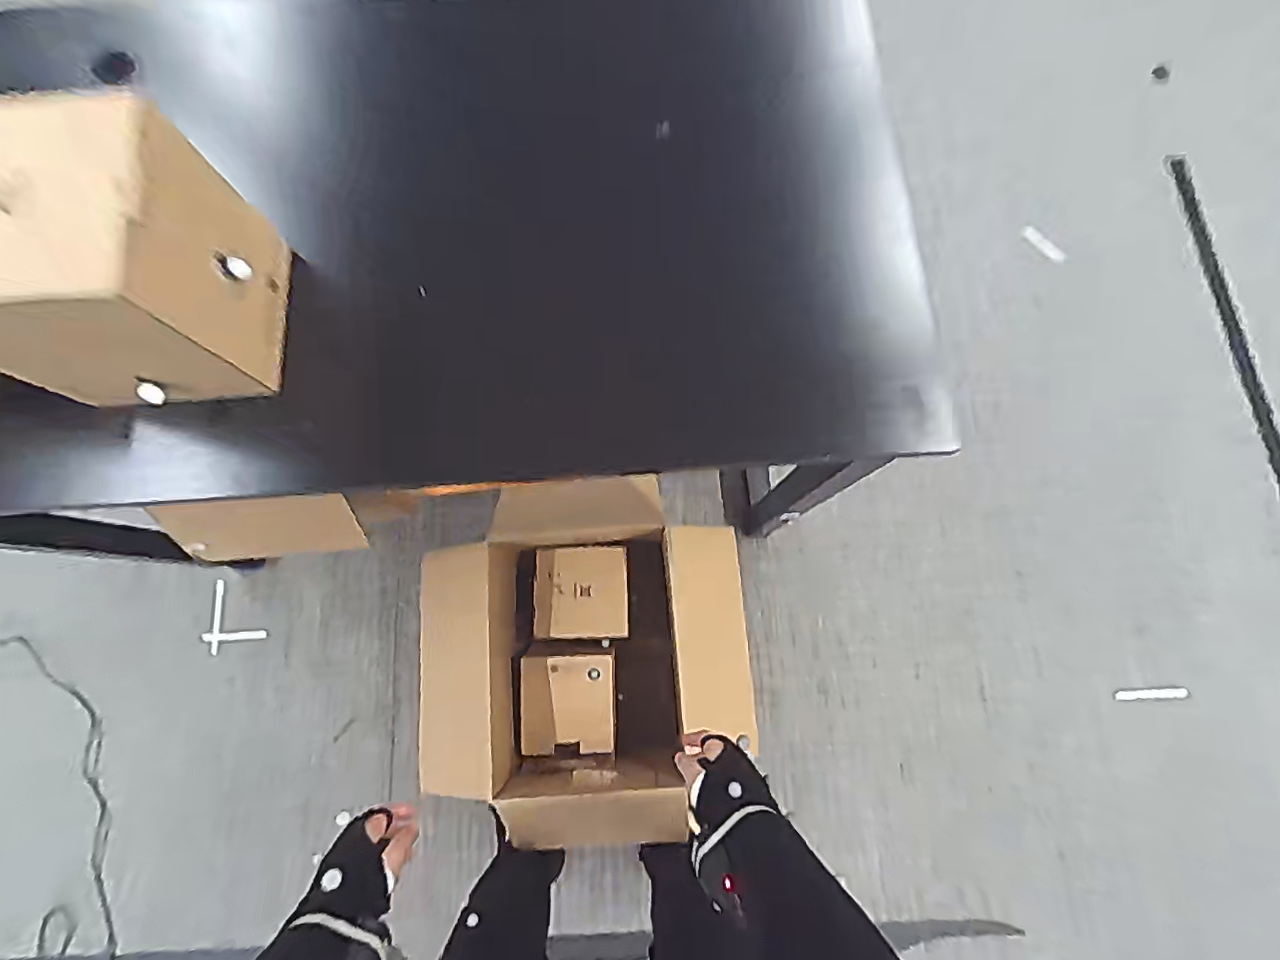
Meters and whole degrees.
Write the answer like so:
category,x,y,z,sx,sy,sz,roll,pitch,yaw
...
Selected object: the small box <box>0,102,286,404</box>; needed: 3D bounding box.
category,x,y,z,sx,sy,sz,roll,pitch,yaw
small box,-0.434,-0.173,0.452,0.179,0.176,0.168,-5,76,-2
